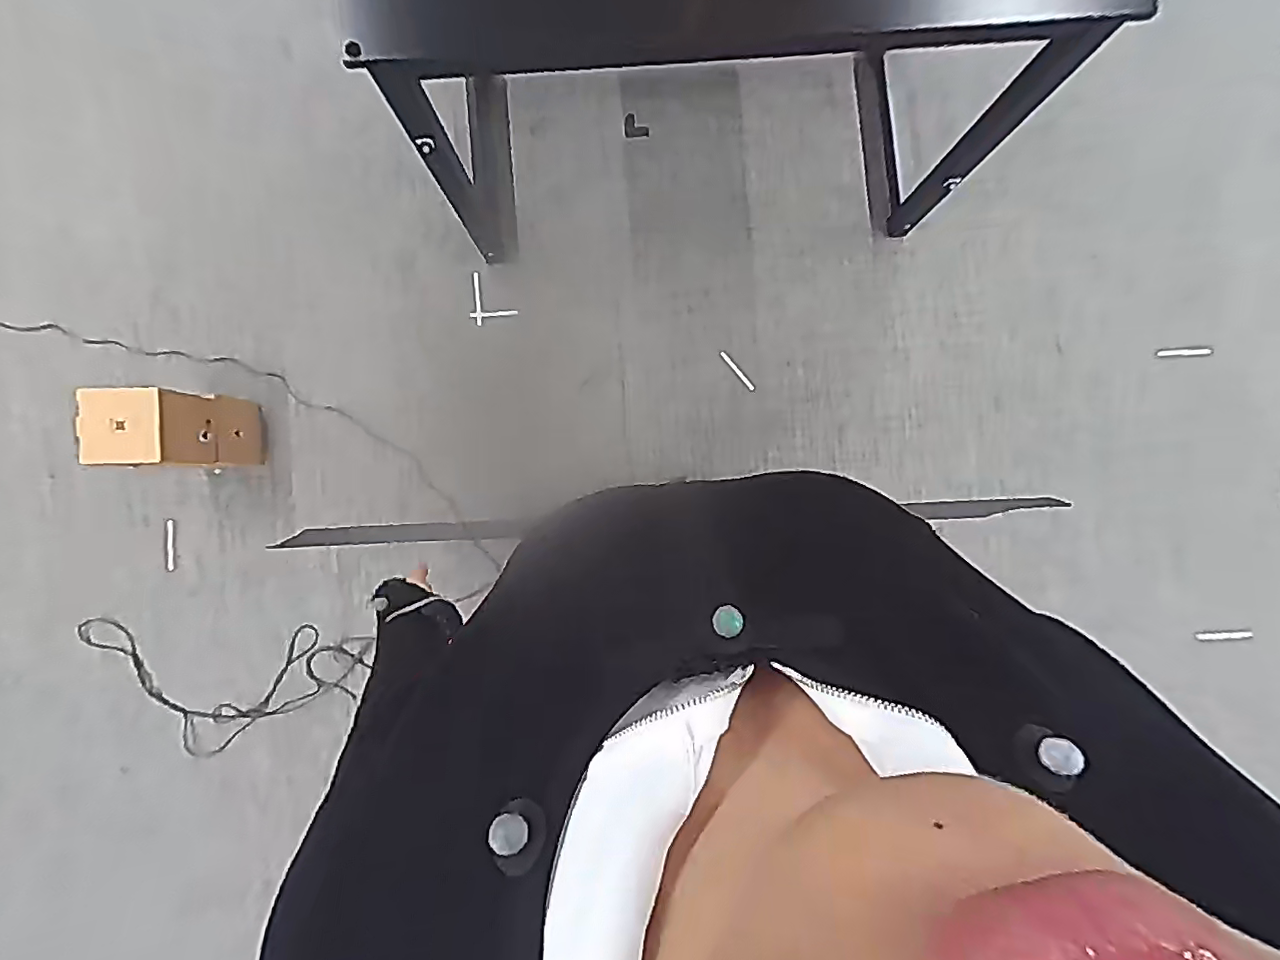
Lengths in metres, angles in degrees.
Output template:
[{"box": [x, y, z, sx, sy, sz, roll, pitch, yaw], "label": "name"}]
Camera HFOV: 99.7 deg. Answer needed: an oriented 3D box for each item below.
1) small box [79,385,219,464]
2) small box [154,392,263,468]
[{"box": [-1.121, -0.122, 1.245, 0.179, 0.176, 0.168, -2, 90, -2], "label": "small box"}, {"box": [-1.121, -0.125, 1.407, 0.168, 0.176, 0.179, -4, 90, -1], "label": "small box"}]
